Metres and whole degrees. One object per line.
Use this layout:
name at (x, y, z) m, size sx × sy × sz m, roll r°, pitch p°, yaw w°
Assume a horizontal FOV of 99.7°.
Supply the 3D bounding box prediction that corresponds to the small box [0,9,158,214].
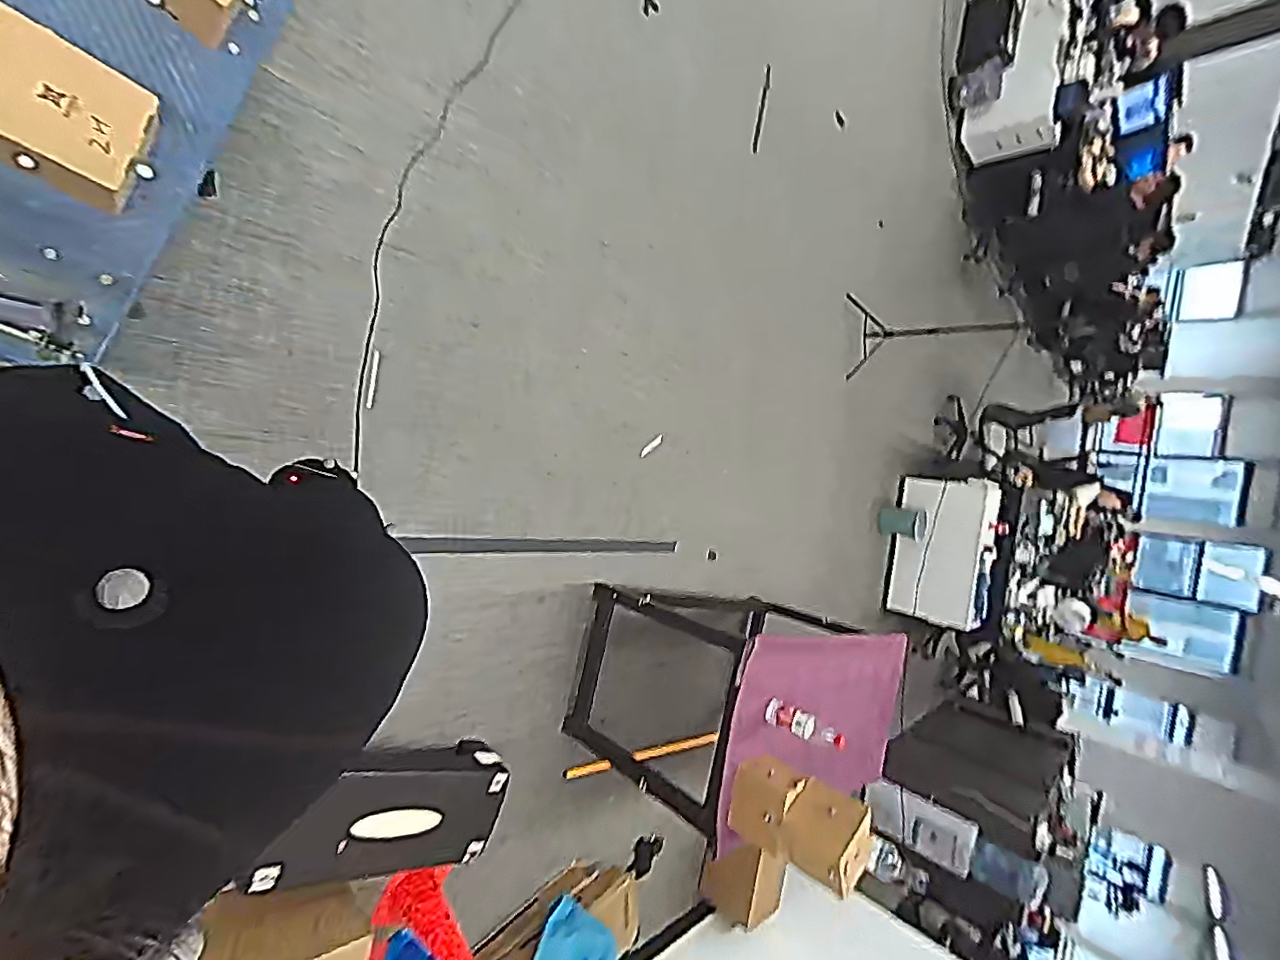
small box at (-0.881, -0.538, 0.822) m, size 0.179 × 0.176 × 0.168 m, roll 24°, pitch 80°, yaw -44°

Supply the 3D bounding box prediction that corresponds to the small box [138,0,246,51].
small box at (-0.753, -0.876, 0.893) m, size 0.168 × 0.176 × 0.179 m, roll 30°, pitch 77°, yaw -43°
